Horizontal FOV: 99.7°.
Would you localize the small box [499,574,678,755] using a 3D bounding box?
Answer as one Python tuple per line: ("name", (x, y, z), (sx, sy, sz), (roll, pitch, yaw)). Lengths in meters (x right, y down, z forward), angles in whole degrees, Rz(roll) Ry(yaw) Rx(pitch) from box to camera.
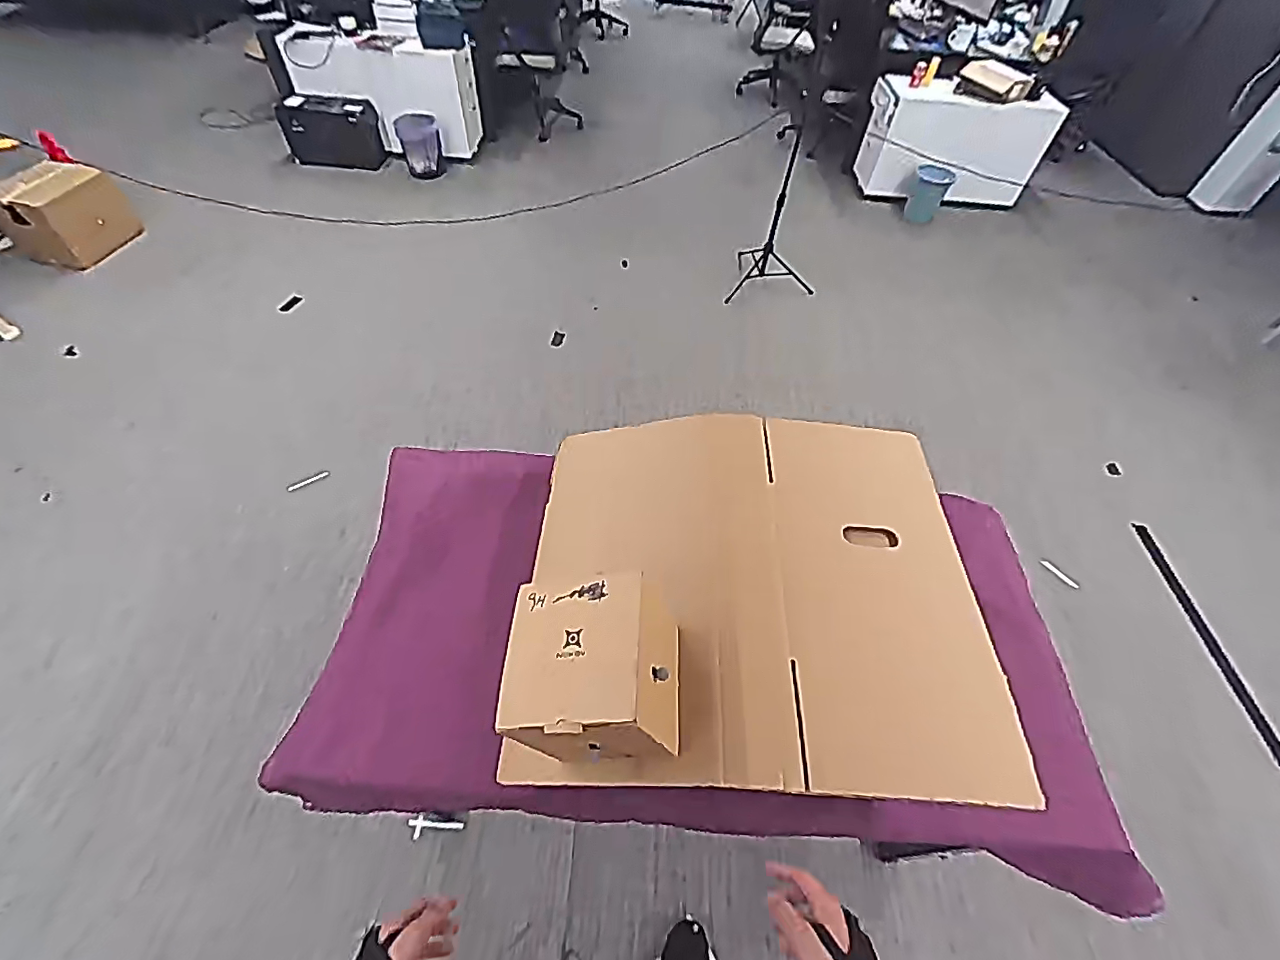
("small box", (-0.050, 0.240, 0.679), (0.168, 0.176, 0.179), (-9, 52, 15))
